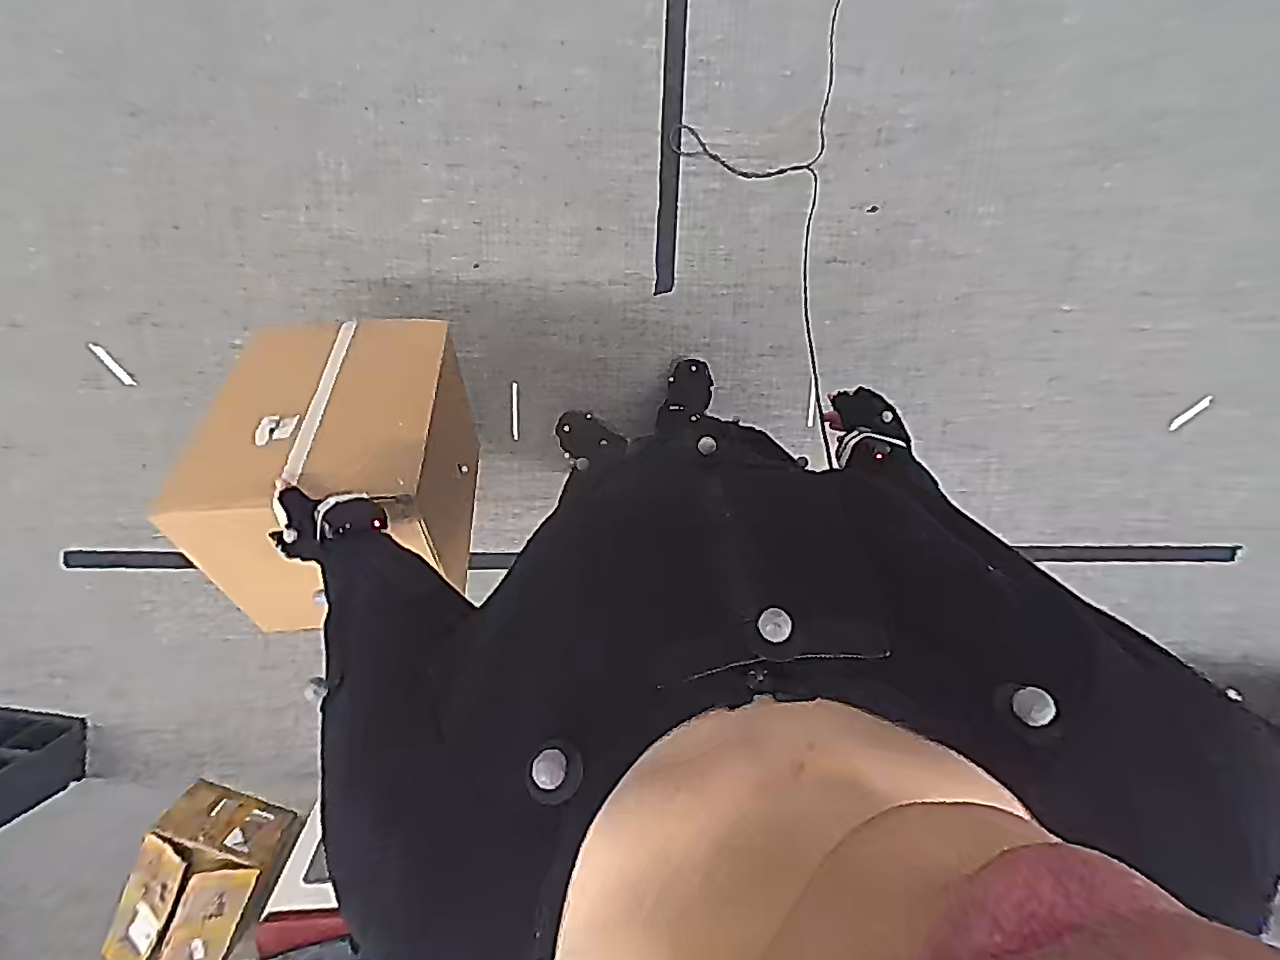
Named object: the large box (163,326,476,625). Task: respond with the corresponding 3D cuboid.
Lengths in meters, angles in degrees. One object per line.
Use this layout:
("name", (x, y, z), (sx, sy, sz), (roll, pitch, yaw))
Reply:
("large box", (-0.467, -0.016, 0.914), (0.320, 0.408, 0.320), (-4, 139, -6))
